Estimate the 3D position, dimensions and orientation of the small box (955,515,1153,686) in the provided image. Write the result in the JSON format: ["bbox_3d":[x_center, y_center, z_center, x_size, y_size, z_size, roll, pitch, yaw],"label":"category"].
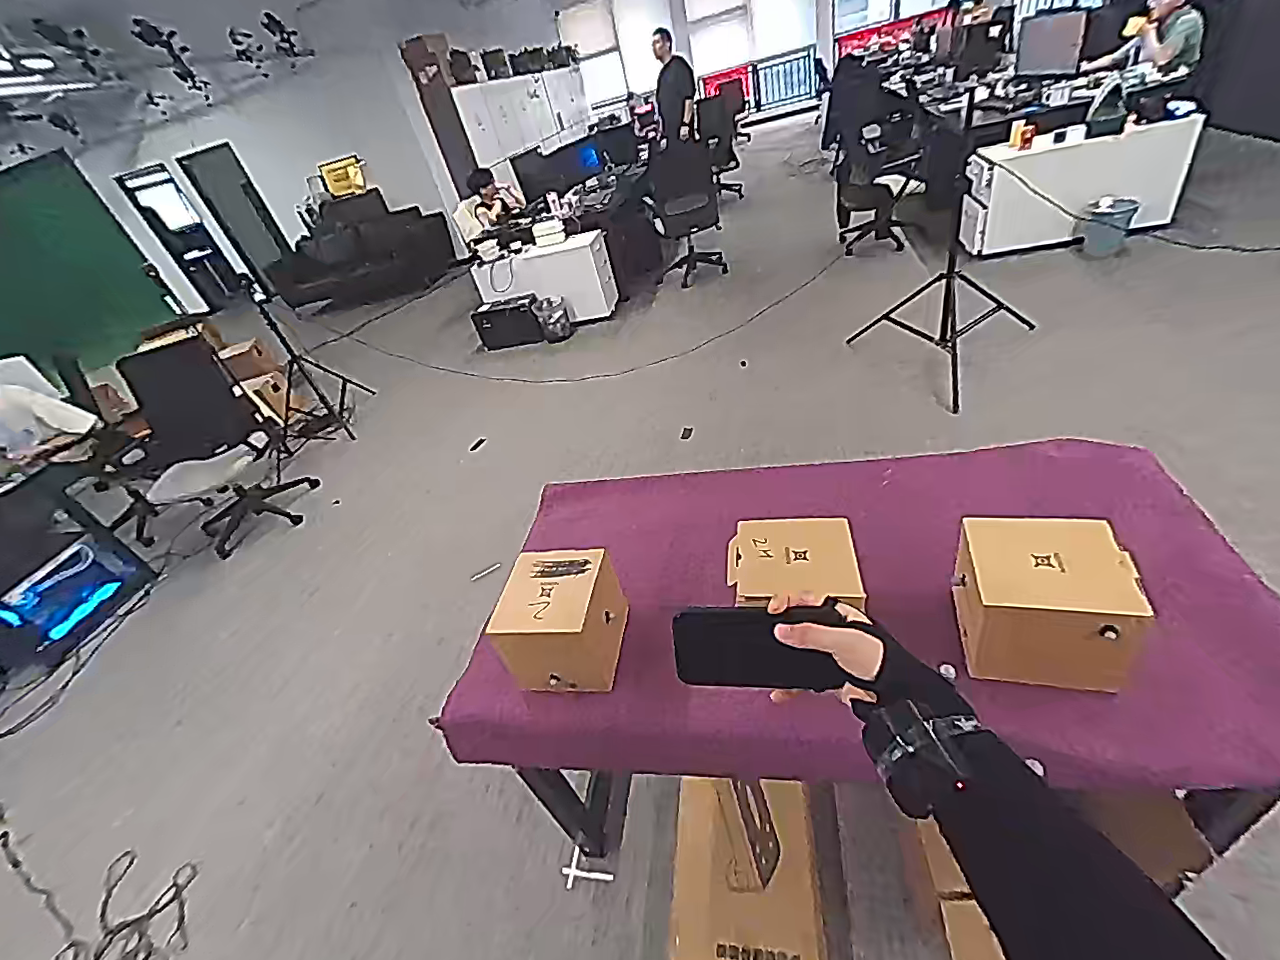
[{"bbox_3d":[0.554,0.166,0.757,0.179,0.176,0.168,-1,39,20],"label":"small box"}]

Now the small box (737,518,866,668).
[{"bbox_3d":[0.252,0.181,0.857,0.179,0.176,0.168,-6,35,15],"label":"small box"}]
